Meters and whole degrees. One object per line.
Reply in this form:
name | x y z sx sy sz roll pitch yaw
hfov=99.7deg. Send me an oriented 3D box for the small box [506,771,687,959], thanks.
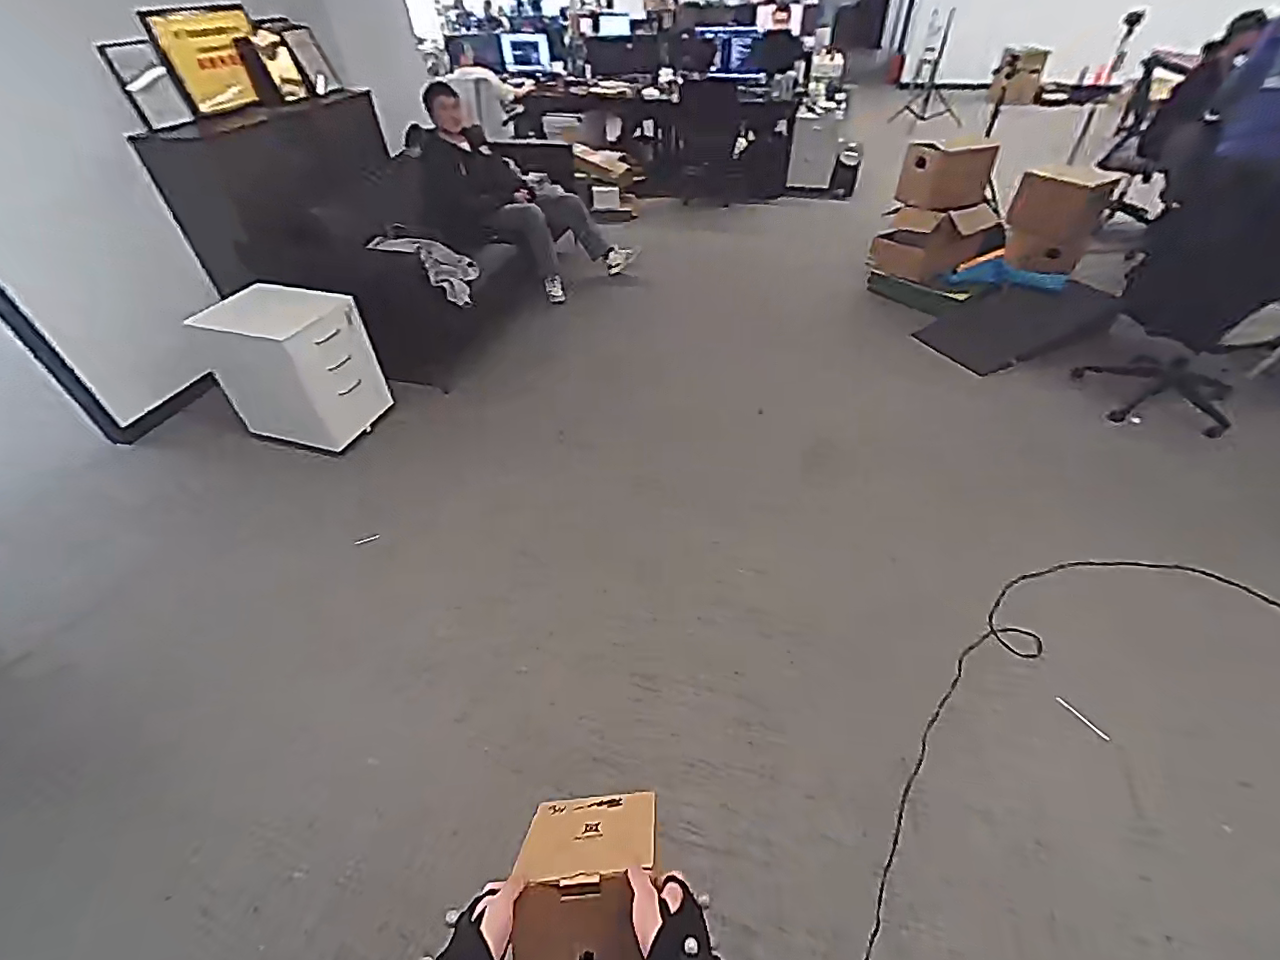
small box | -0.059 0.511 0.692 0.179 0.168 0.176 -4 84 -28
